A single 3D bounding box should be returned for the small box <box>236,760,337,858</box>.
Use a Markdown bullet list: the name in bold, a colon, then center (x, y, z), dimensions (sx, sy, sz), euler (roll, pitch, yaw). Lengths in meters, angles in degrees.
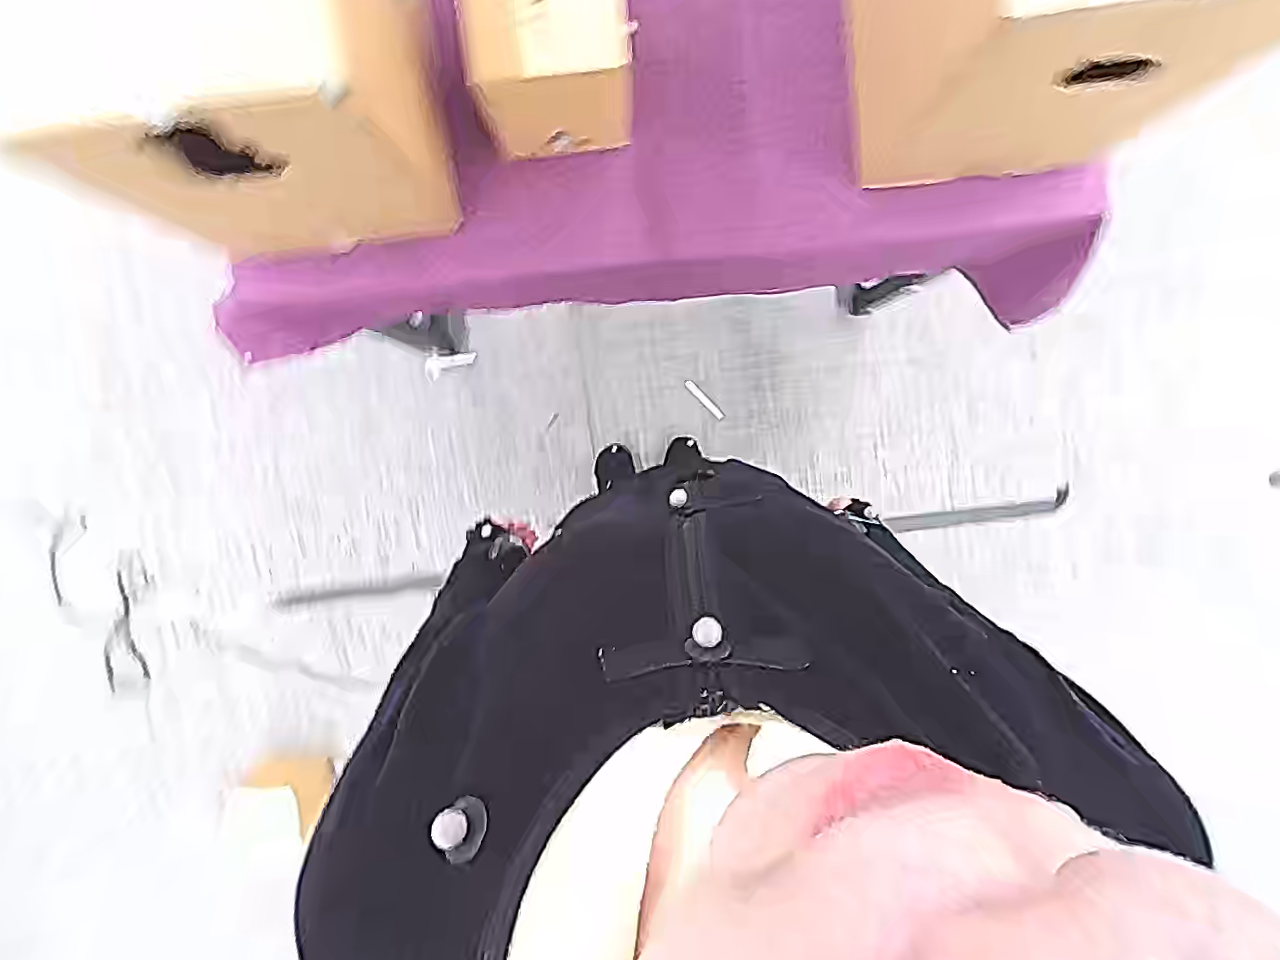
- **small box**: center (-0.962, 0.899, 1.492), dimensions (0.179, 0.176, 0.168), euler (-3, 96, 0)
